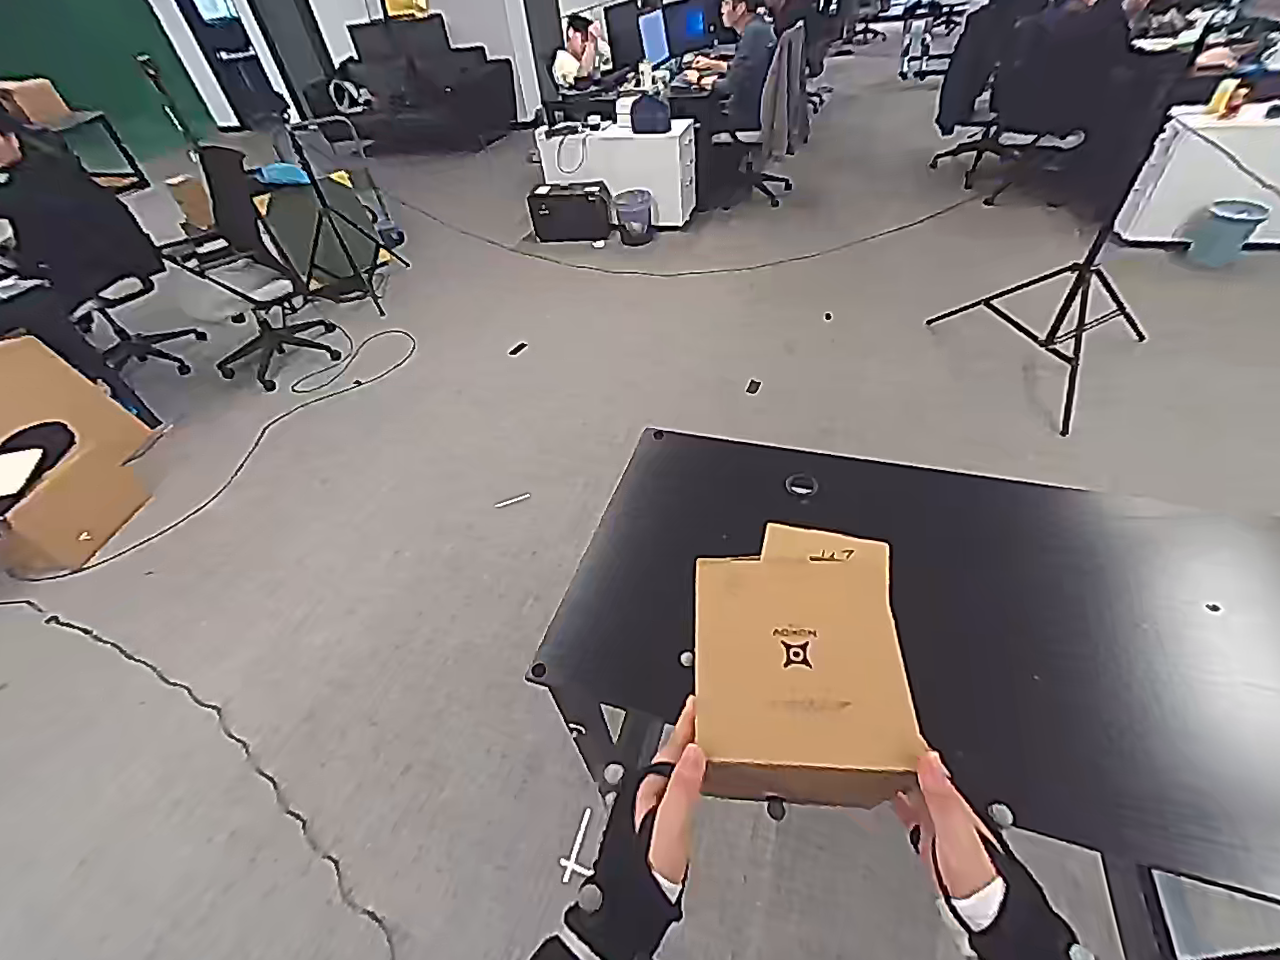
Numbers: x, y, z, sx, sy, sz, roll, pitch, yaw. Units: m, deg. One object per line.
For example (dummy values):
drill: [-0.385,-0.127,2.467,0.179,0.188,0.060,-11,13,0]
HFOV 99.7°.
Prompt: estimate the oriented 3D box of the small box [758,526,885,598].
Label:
small box: [0.242,0.196,0.770,0.168,0.176,0.179,9,47,16]

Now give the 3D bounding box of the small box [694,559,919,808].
small box: [0.136,0.193,0.514,0.168,0.176,0.179,-1,51,7]
